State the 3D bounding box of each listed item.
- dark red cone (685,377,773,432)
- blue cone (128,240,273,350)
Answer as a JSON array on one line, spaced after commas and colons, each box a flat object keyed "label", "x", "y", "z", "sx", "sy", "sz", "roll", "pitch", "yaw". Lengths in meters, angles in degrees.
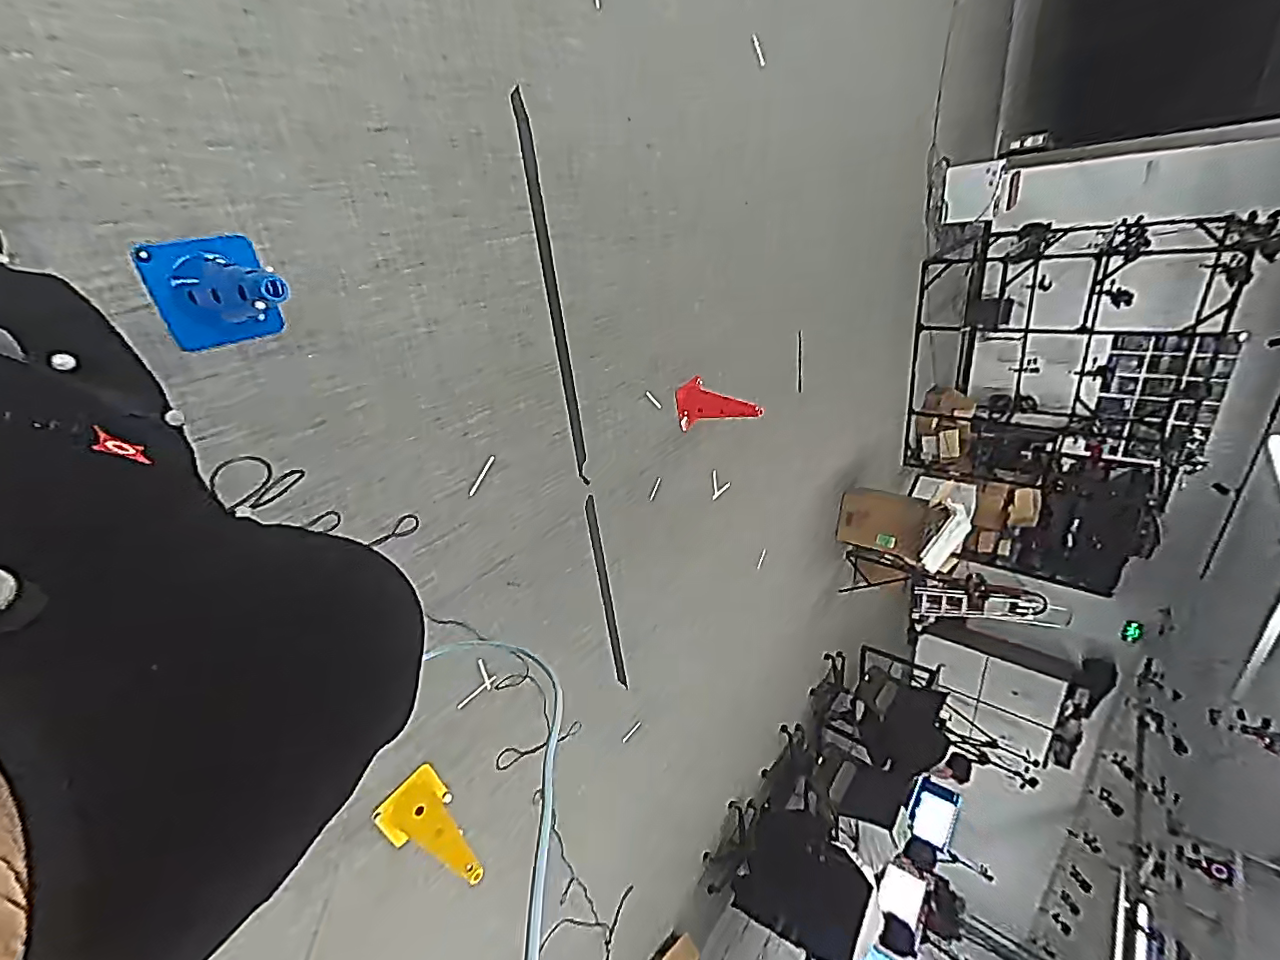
[{"label": "dark red cone", "x": 0.389, "y": -0.306, "z": 2.326, "sx": 0.201, "sy": 0.394, "sz": 0.202, "roll": -40, "pitch": 130, "yaw": -35}, {"label": "blue cone", "x": -0.729, "y": -0.334, "z": 0.966, "sx": 0.192, "sy": 0.380, "sz": 0.193, "roll": -31, "pitch": 125, "yaw": -41}]
